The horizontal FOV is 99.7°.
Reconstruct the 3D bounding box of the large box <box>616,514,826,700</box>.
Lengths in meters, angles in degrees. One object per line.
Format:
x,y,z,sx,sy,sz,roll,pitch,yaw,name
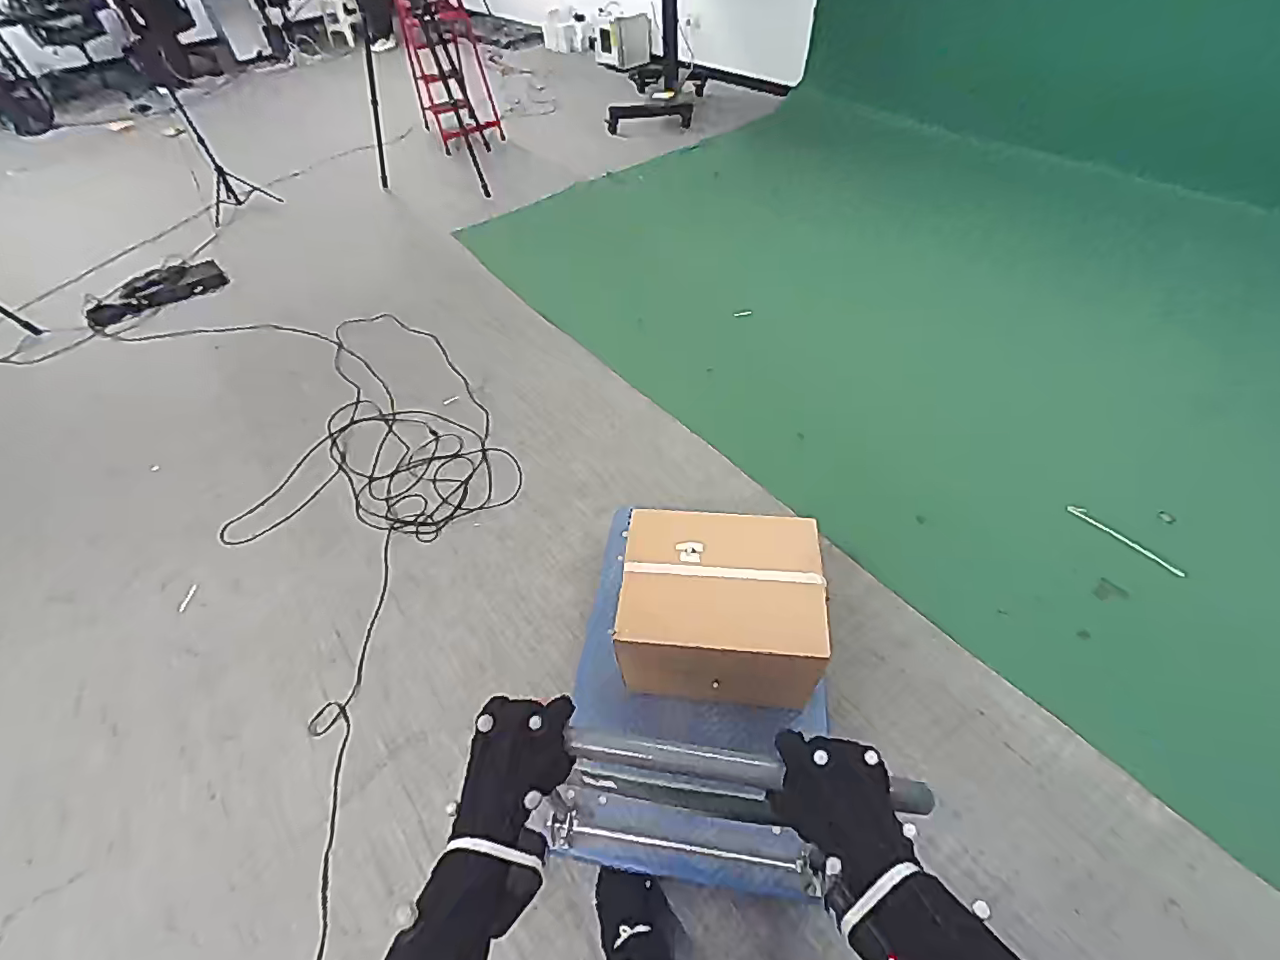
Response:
0.177,0.292,1.229,0.408,0.320,0.320,1,50,8,large box
